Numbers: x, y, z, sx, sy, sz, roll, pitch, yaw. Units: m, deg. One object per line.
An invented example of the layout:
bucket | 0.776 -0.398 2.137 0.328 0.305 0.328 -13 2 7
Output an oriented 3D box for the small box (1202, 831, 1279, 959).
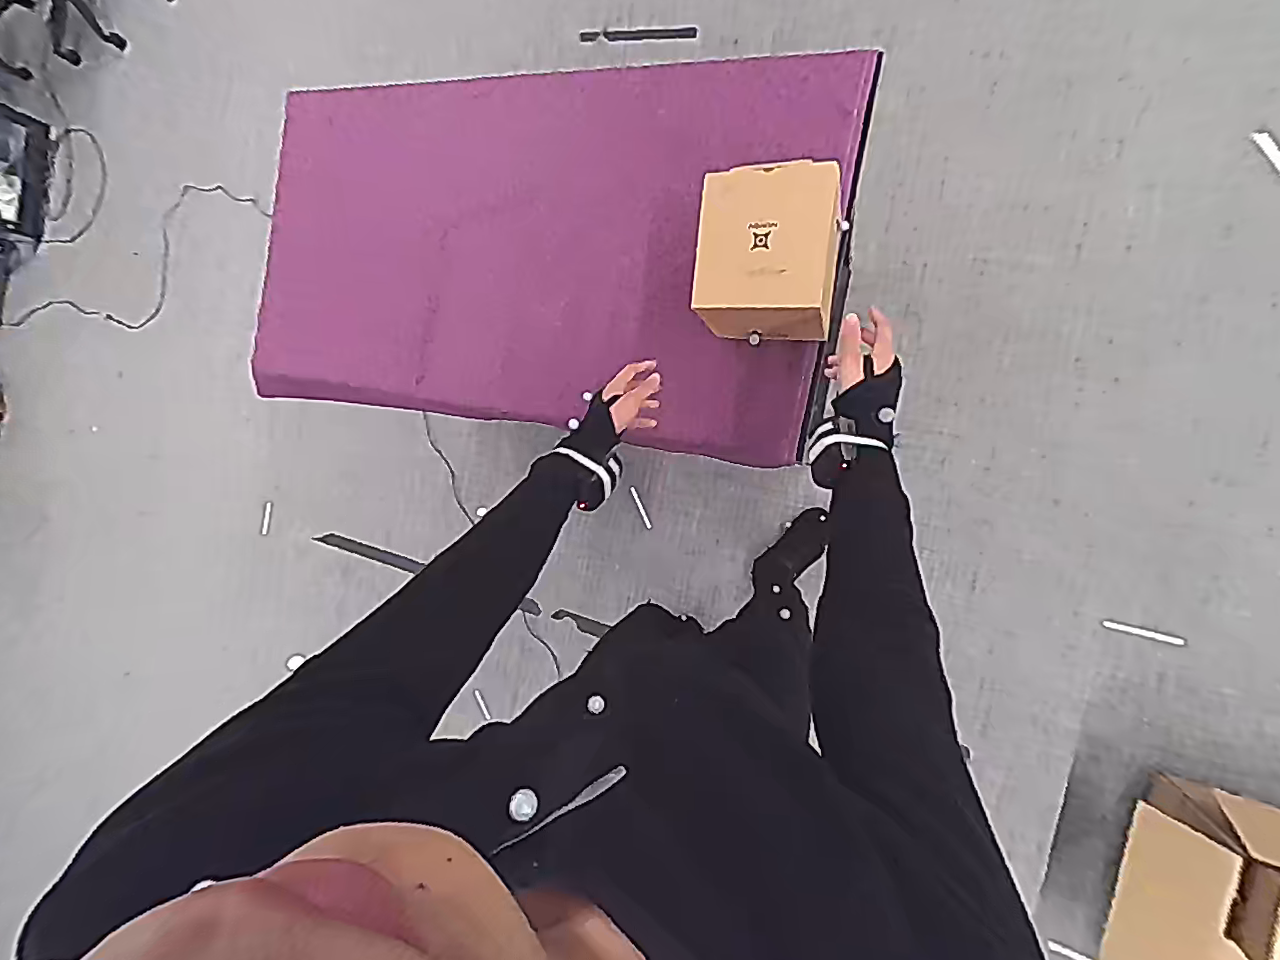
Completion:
small box | 1.182 0.779 0.973 0.179 0.176 0.168 11 95 20

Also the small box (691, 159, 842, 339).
small box | 0.180 -0.306 0.746 0.168 0.176 0.179 8 93 21
